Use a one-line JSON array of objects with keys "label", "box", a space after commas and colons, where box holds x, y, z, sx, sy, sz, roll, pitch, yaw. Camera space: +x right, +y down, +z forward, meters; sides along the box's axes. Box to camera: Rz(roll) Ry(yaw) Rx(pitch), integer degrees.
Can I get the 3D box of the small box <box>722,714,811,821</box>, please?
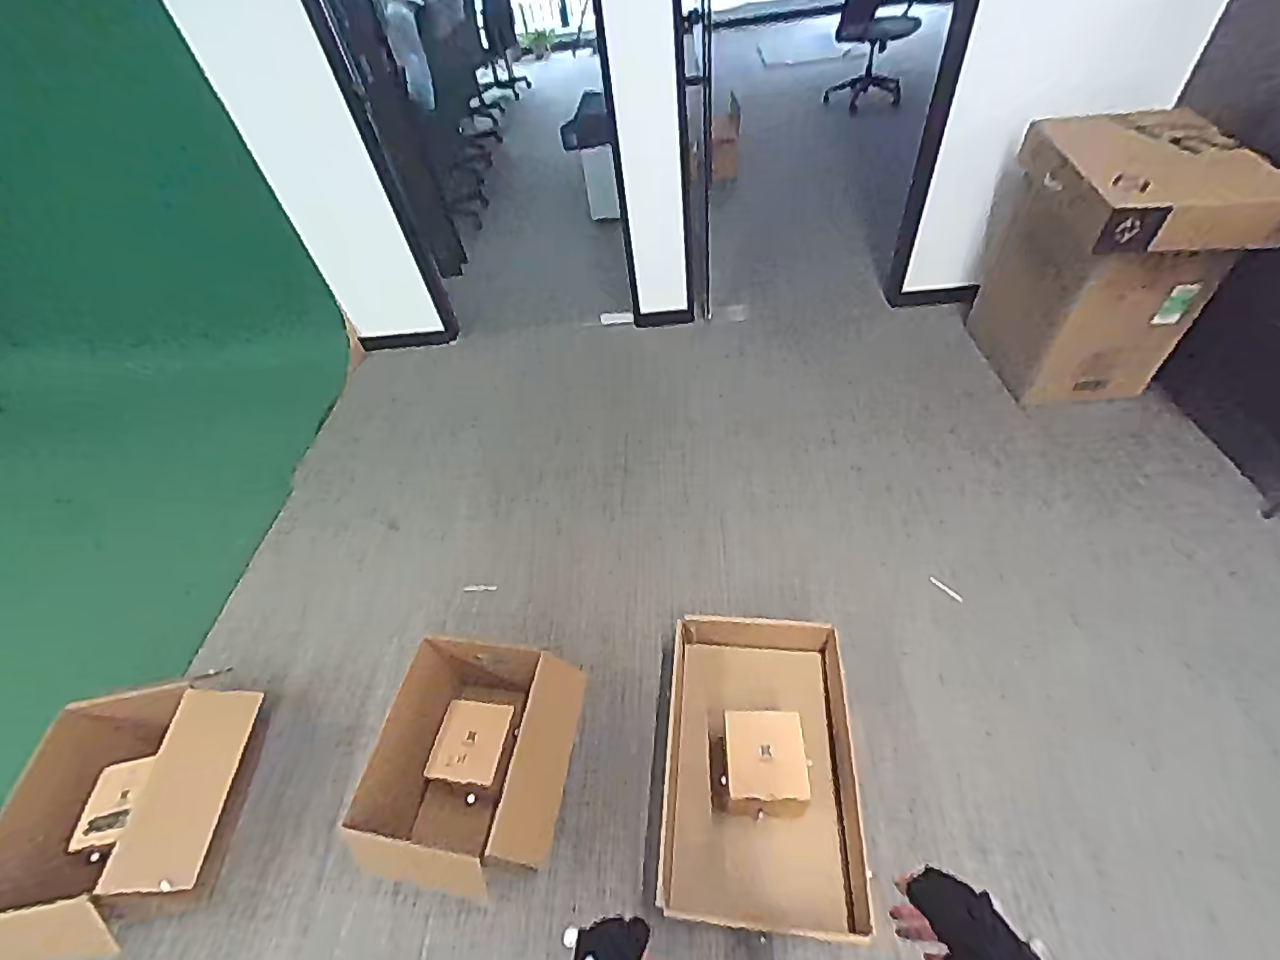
[{"label": "small box", "box": [0.272, 0.638, 1.202, 0.168, 0.176, 0.179, -2, 48, 5]}]
